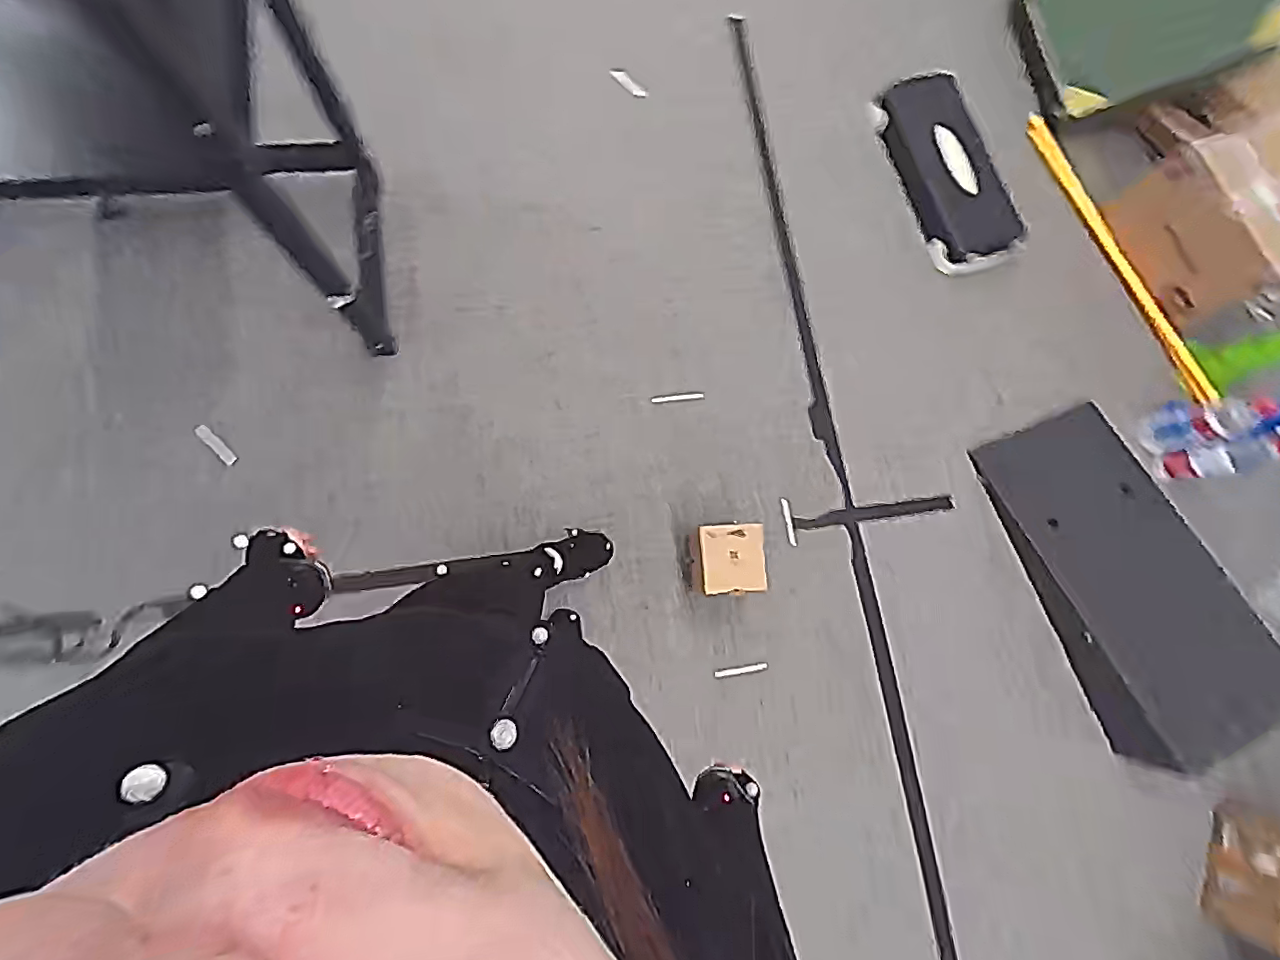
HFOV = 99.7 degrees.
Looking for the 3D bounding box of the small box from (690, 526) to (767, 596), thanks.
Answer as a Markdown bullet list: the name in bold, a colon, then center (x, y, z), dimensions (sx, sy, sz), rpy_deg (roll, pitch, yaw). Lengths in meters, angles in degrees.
- **small box**: center (0.233, 0.216, 1.464), dimensions (0.168, 0.176, 0.179), rpy_deg (-2, 82, -7)
